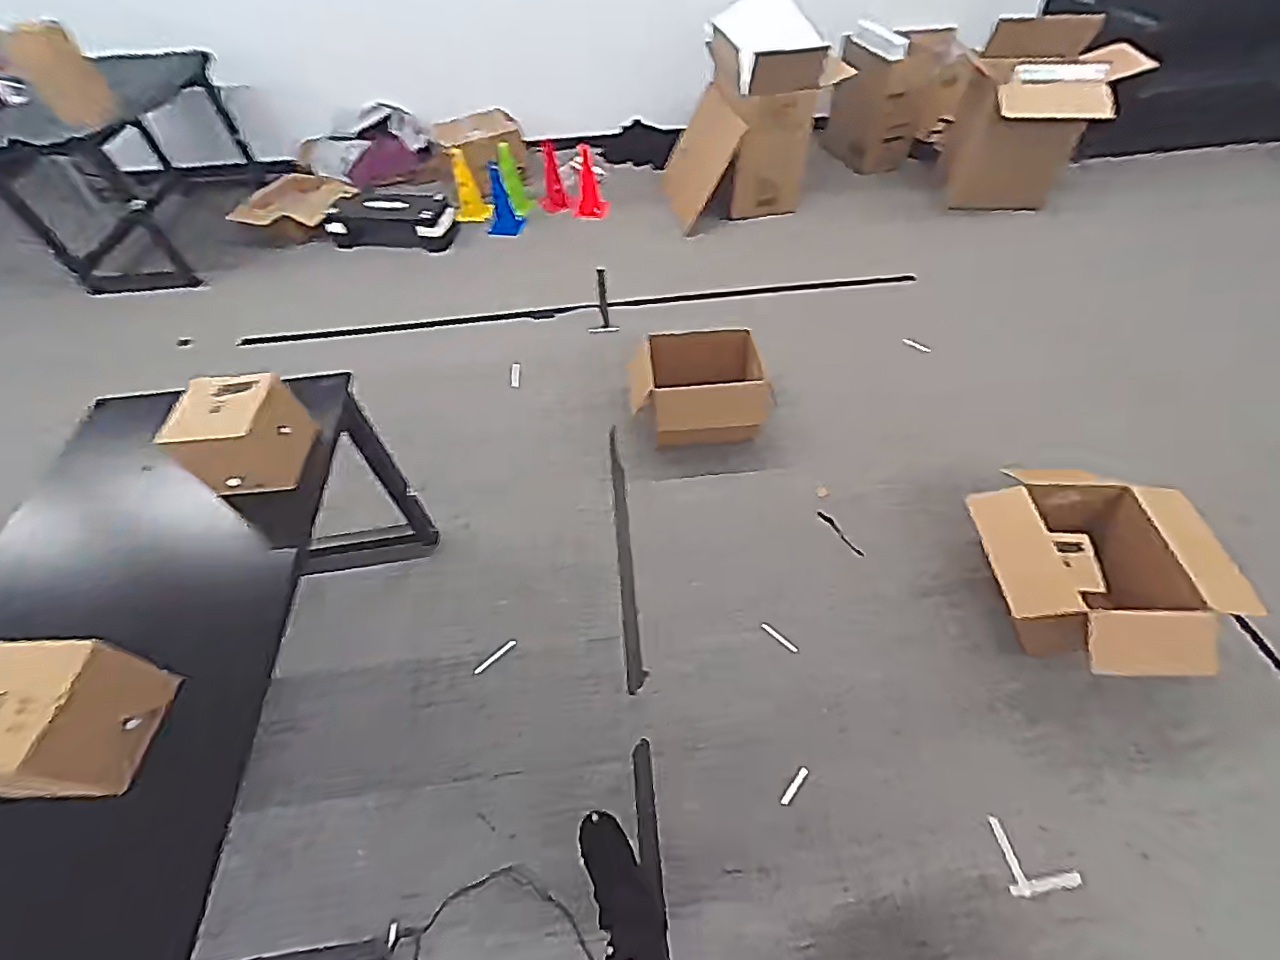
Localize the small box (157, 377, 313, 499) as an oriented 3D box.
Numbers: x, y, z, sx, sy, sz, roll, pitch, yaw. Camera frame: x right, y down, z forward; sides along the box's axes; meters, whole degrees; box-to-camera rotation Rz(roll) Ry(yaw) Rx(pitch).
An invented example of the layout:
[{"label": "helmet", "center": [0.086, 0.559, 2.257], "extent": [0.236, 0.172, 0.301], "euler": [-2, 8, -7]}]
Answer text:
[{"label": "small box", "center": [-0.801, -0.083, 1.095], "extent": [0.168, 0.176, 0.179], "euler": [-6, 53, 0]}]

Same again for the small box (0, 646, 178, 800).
[{"label": "small box", "center": [-0.830, 0.347, 0.764], "extent": [0.179, 0.176, 0.168], "euler": [-2, 53, 1]}]
